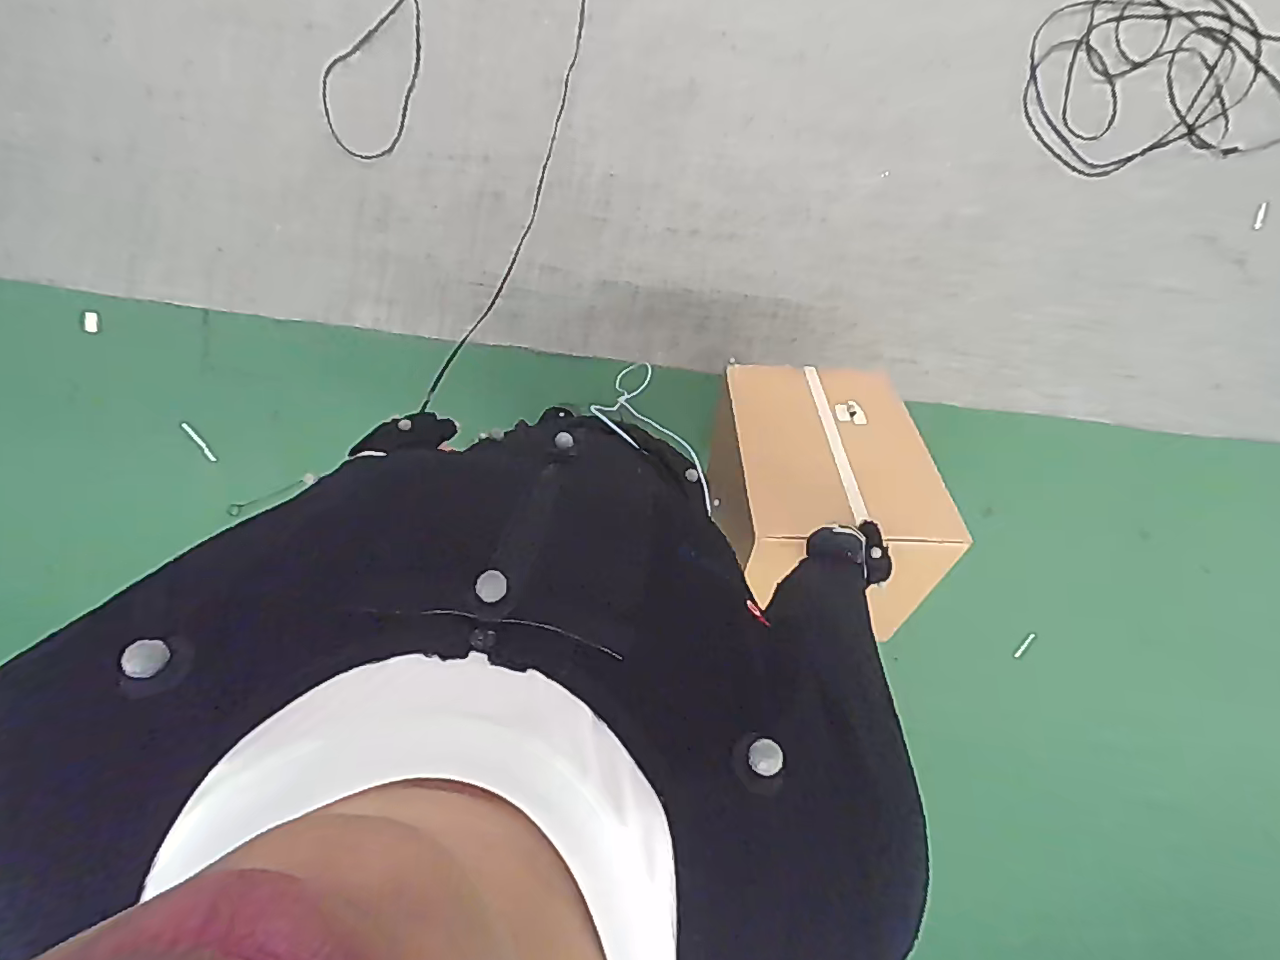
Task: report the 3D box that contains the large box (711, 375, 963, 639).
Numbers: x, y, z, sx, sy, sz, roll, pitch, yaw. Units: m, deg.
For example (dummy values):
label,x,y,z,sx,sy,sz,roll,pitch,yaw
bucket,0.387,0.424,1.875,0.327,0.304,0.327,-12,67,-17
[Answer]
label,x,y,z,sx,sy,sz,roll,pitch,yaw
large box,0.316,0.049,1.022,0.320,0.408,0.320,2,137,-1
